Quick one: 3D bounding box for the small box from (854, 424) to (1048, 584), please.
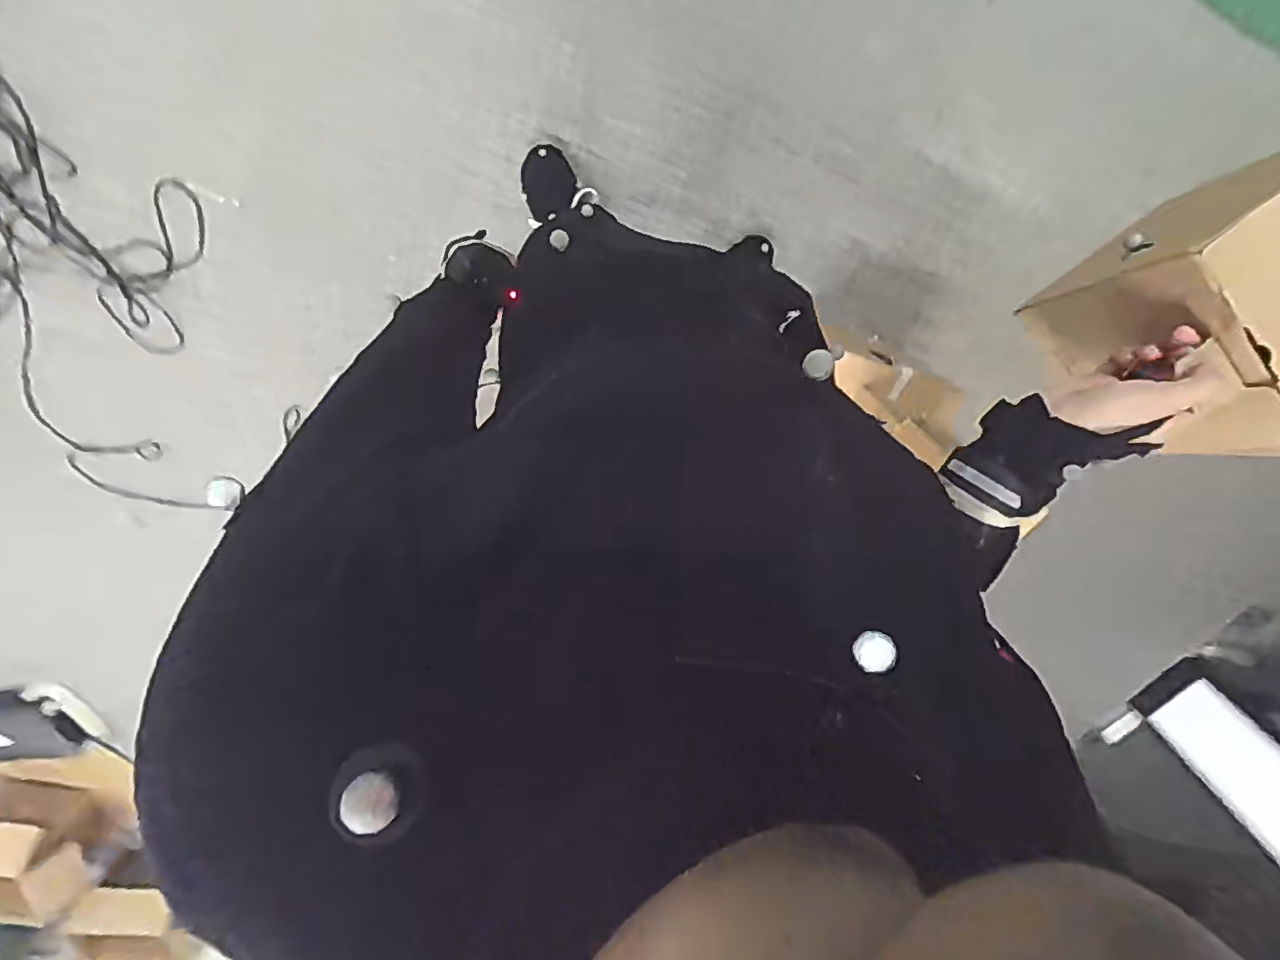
[{"bbox_3d":[0.487,0.033,0.875,0.179,0.176,0.168,22,119,-14],"label":"small box"}]

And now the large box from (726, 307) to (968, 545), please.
[{"bbox_3d":[0.437,-0.127,1.253,0.320,0.320,0.408,17,121,-11],"label":"large box"}]
